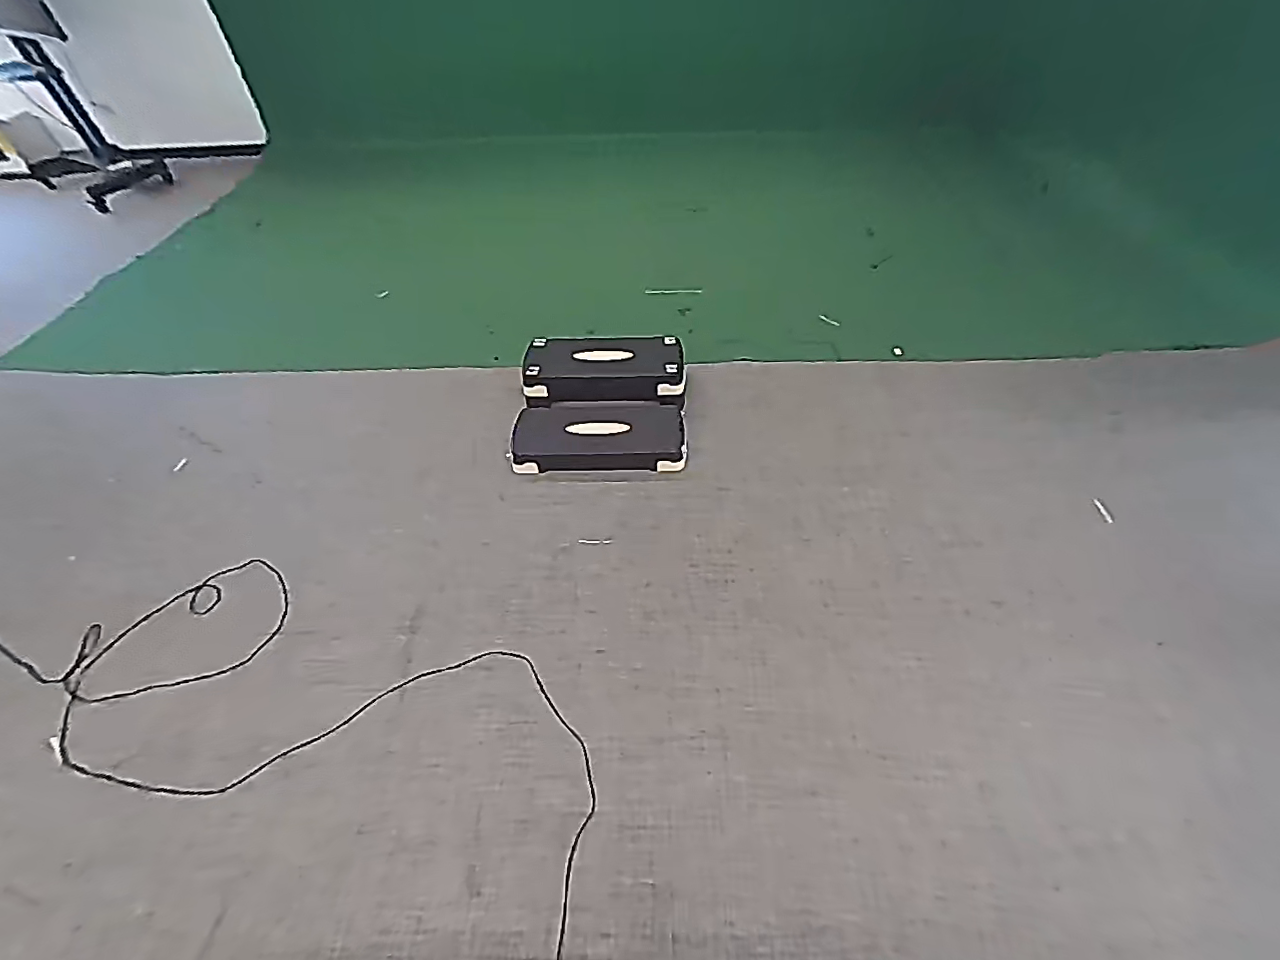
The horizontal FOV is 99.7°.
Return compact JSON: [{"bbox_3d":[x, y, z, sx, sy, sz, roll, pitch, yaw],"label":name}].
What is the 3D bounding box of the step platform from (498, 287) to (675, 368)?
[{"bbox_3d":[-0.203,-0.611,2.166,0.684,0.204,0.286,-1,49,2],"label":"step platform"}]
